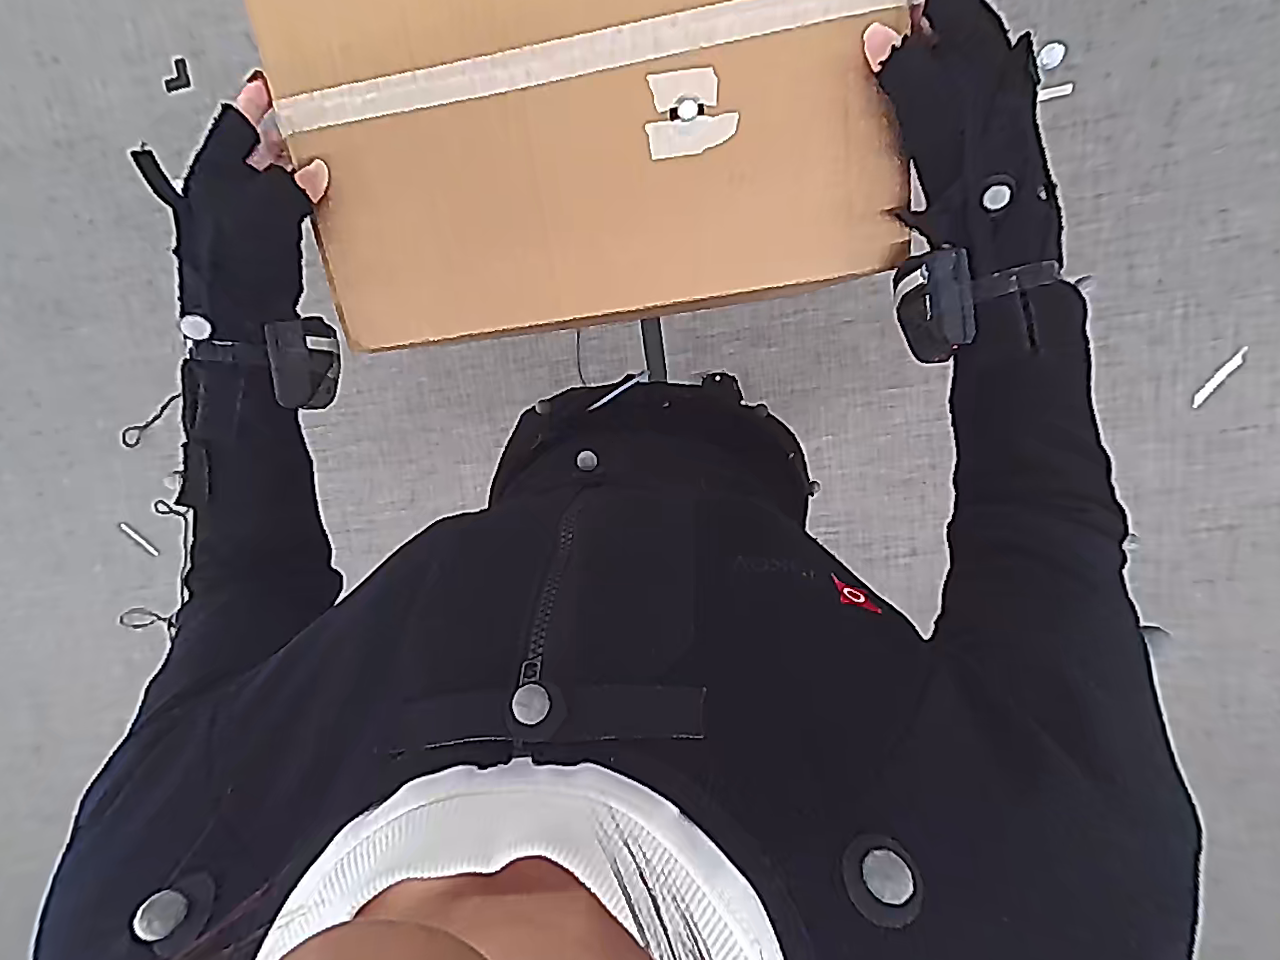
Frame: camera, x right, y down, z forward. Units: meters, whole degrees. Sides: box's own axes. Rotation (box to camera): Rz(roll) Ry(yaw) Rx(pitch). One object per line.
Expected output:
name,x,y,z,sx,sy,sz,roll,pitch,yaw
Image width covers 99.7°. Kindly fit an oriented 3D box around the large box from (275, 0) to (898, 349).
large box,-0.030,-0.314,0.504,0.408,0.320,0.320,-7,106,6
